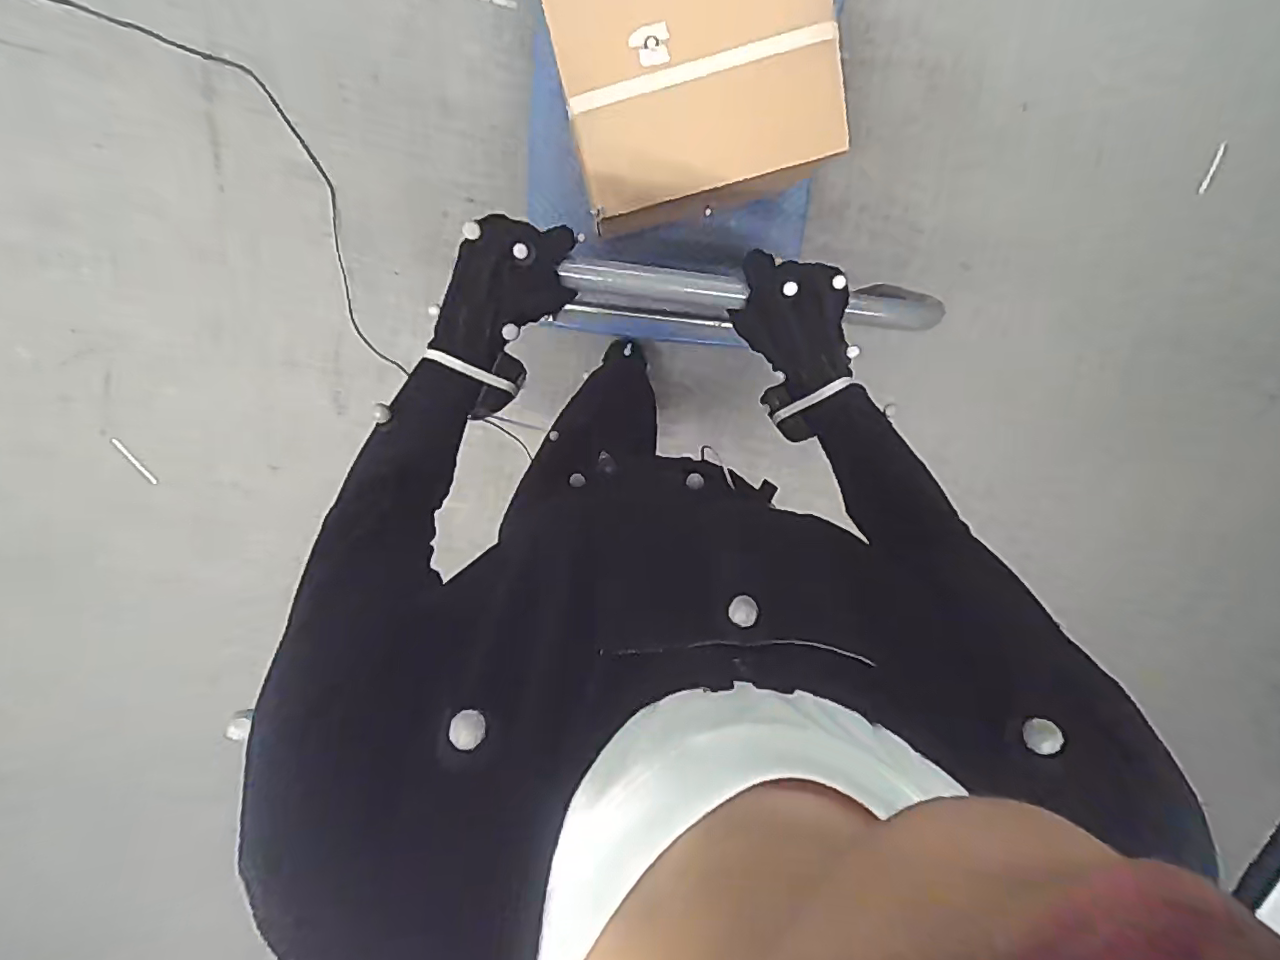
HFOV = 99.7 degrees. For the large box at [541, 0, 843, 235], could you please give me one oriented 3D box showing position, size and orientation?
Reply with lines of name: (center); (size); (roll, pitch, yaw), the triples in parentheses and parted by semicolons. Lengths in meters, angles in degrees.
large box: (0.082, -0.651, 0.939); (0.408, 0.320, 0.320); (-14, 107, 2)
